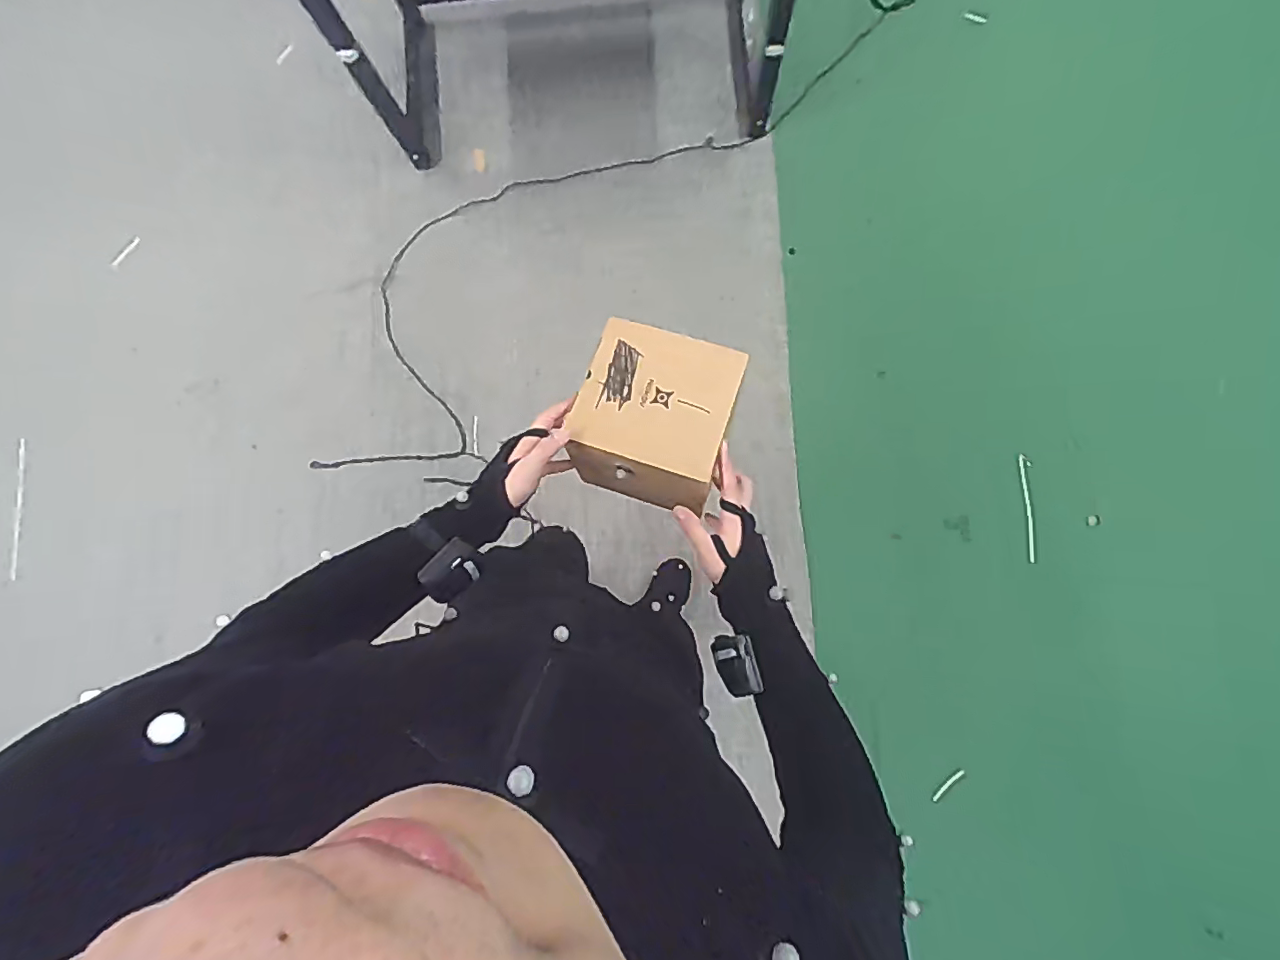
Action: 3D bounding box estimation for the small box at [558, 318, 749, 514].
[{"bbox_3d":[0.020,-0.070,0.681,0.179,0.176,0.168,18,74,8],"label":"small box"}]
